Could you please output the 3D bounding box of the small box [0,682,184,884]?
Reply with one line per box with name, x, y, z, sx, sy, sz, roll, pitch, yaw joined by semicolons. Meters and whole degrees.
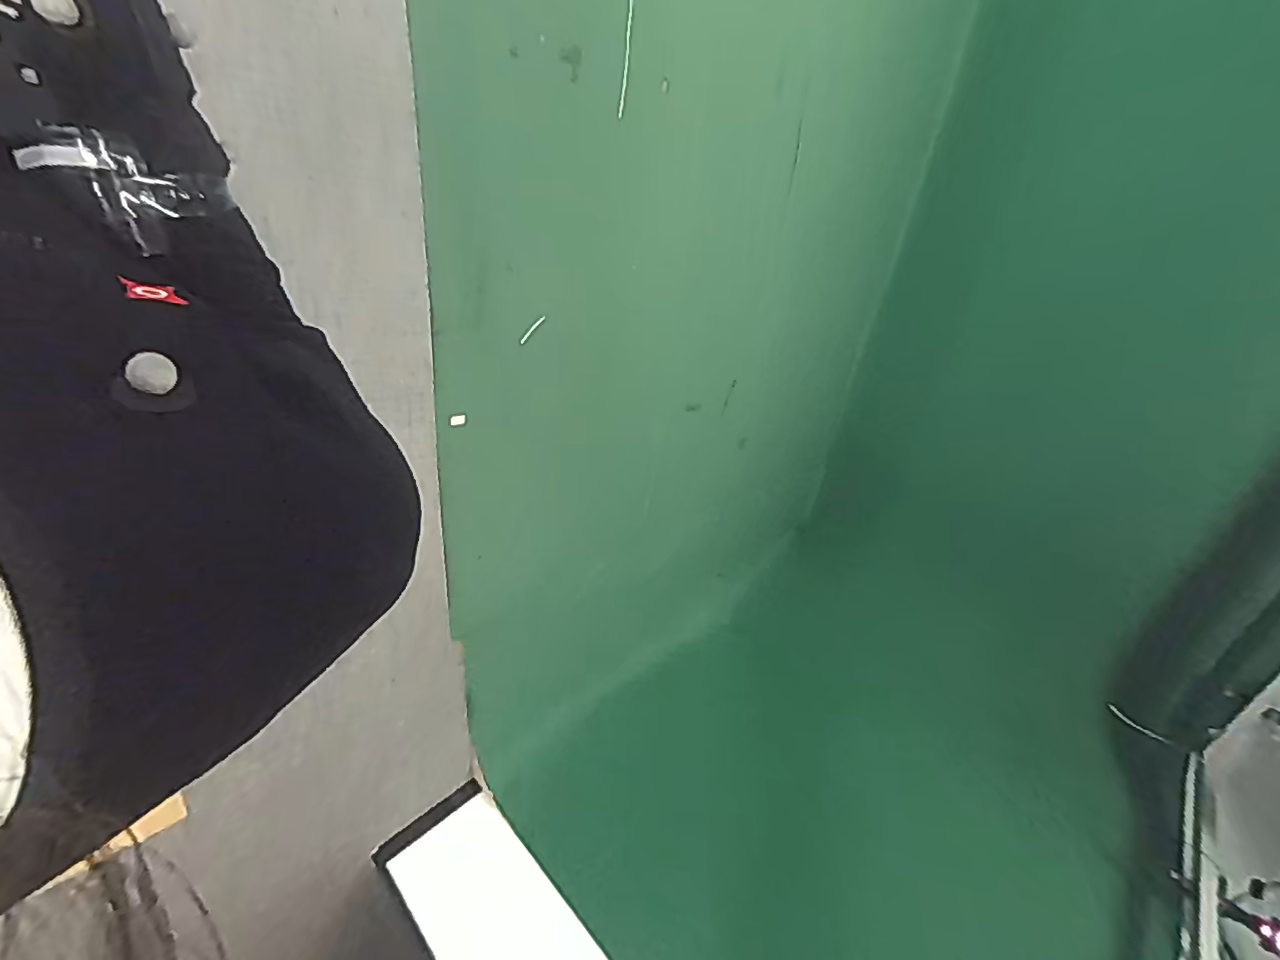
small box;-0.853;0.456;0.842;0.179;0.176;0.168;-18;126;-47
